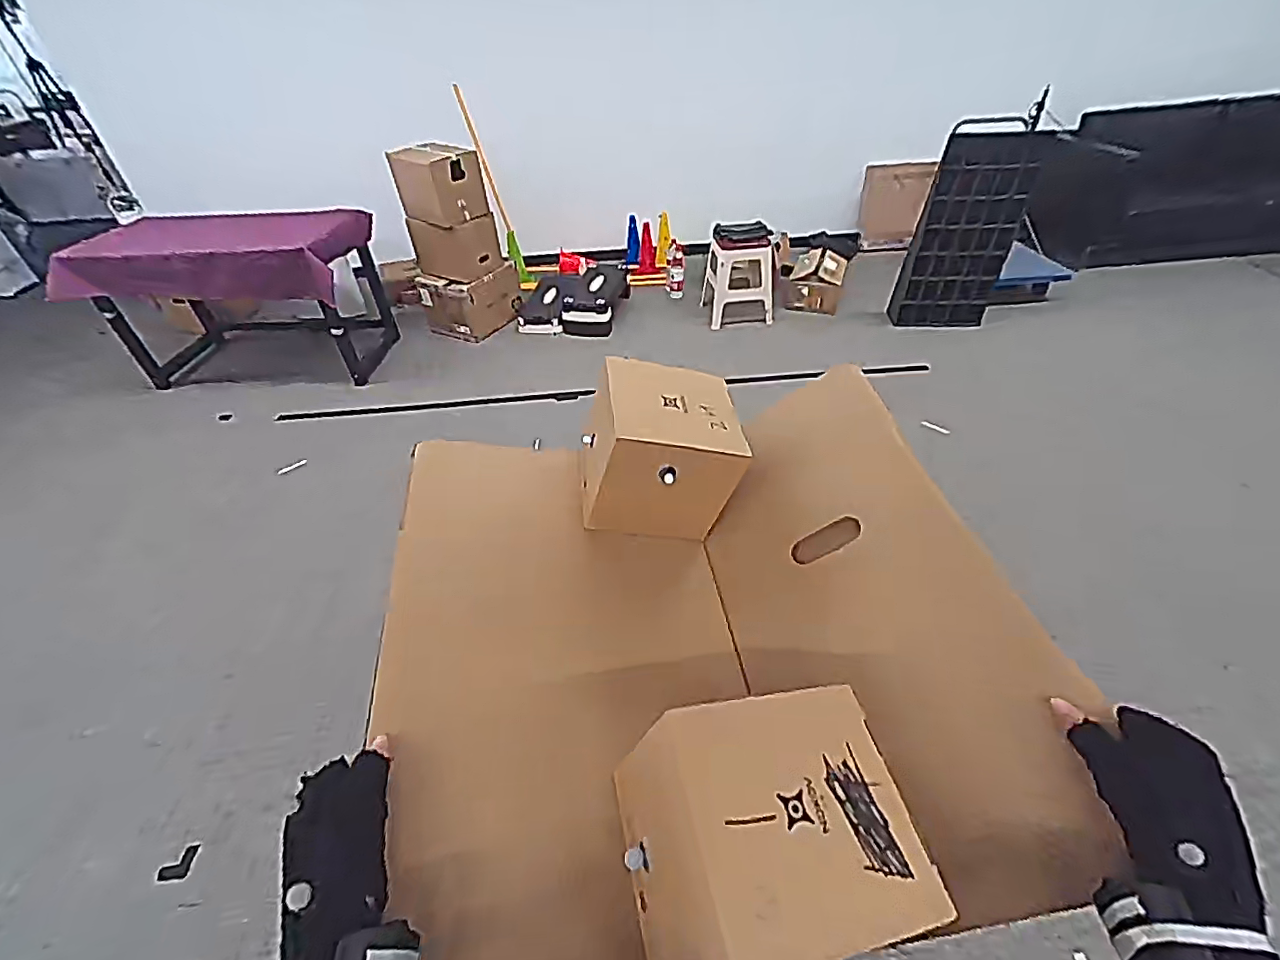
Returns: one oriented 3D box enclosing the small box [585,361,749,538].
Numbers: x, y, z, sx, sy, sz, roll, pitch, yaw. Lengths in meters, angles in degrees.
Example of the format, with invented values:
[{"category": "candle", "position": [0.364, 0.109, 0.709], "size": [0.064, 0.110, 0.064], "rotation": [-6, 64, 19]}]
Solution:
[{"category": "small box", "position": [0.023, -0.036, 0.745], "size": [0.179, 0.176, 0.168], "rotation": [8, 45, -16]}]
